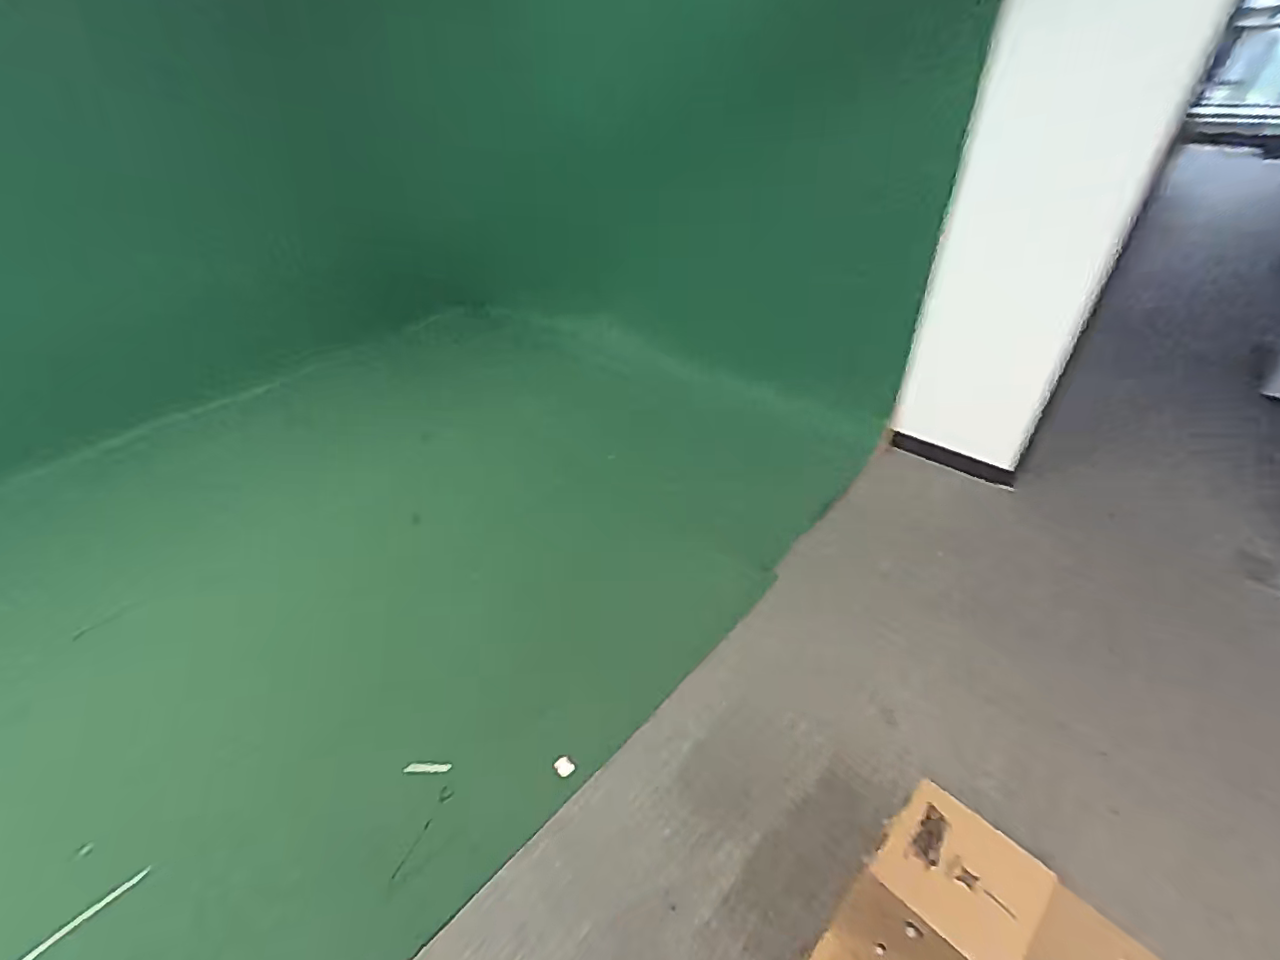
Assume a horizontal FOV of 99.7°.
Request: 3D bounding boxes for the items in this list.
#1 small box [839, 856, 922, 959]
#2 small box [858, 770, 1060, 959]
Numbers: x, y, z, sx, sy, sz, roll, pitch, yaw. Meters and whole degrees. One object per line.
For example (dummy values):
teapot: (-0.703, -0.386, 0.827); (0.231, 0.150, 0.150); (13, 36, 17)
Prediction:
small box: (0.441, 0.685, 0.866); (0.179, 0.176, 0.168); (-33, 47, -30)
small box: (0.430, 0.561, 0.755); (0.168, 0.176, 0.179); (-35, 47, -30)
